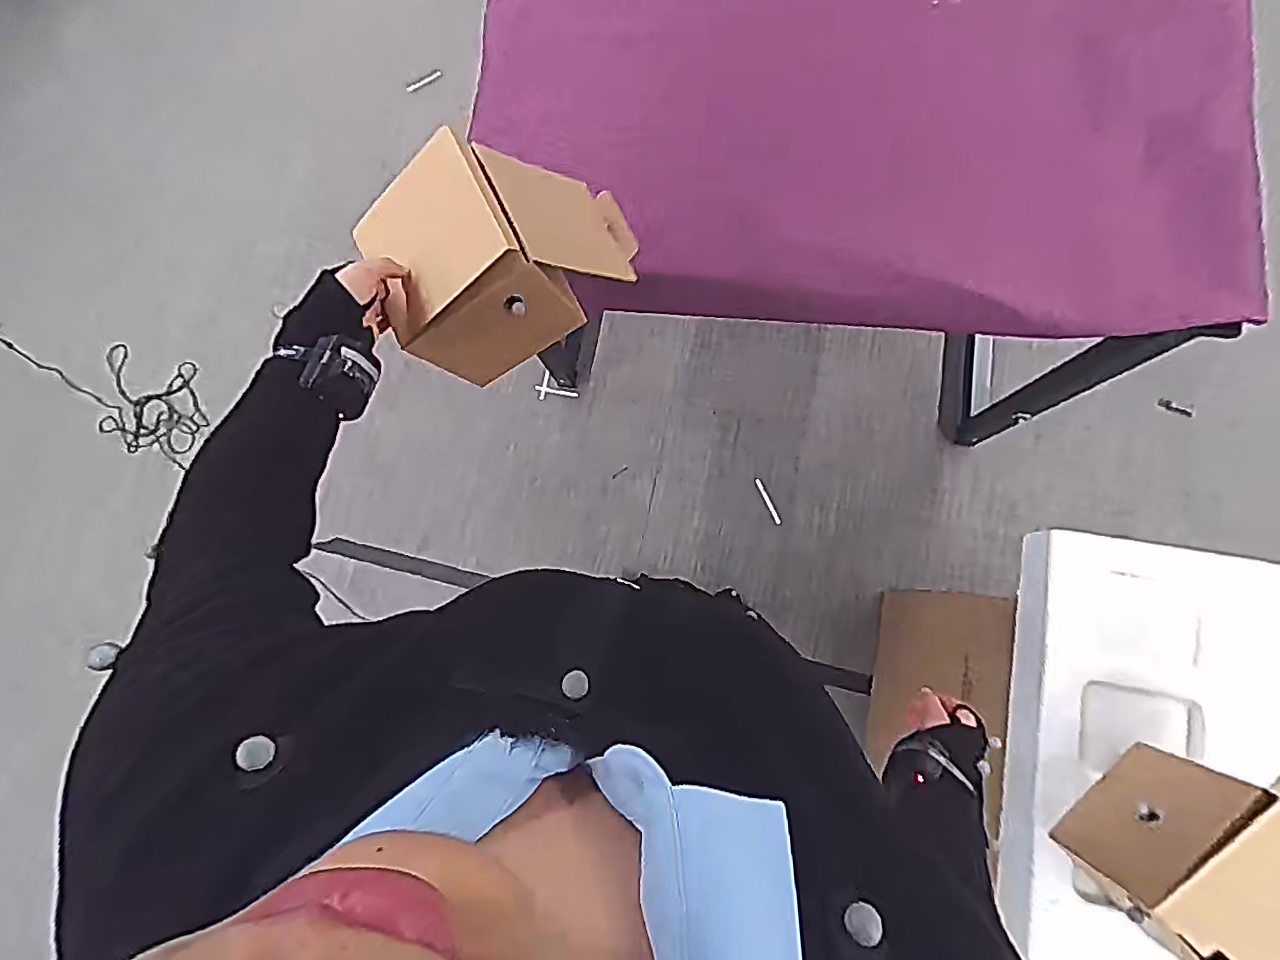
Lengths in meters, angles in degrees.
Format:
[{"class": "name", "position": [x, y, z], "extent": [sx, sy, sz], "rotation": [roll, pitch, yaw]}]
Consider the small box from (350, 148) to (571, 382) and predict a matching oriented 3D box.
[{"class": "small box", "position": [-0.204, -0.247, 0.666], "extent": [0.179, 0.176, 0.168], "rotation": [-29, 78, 11]}]
